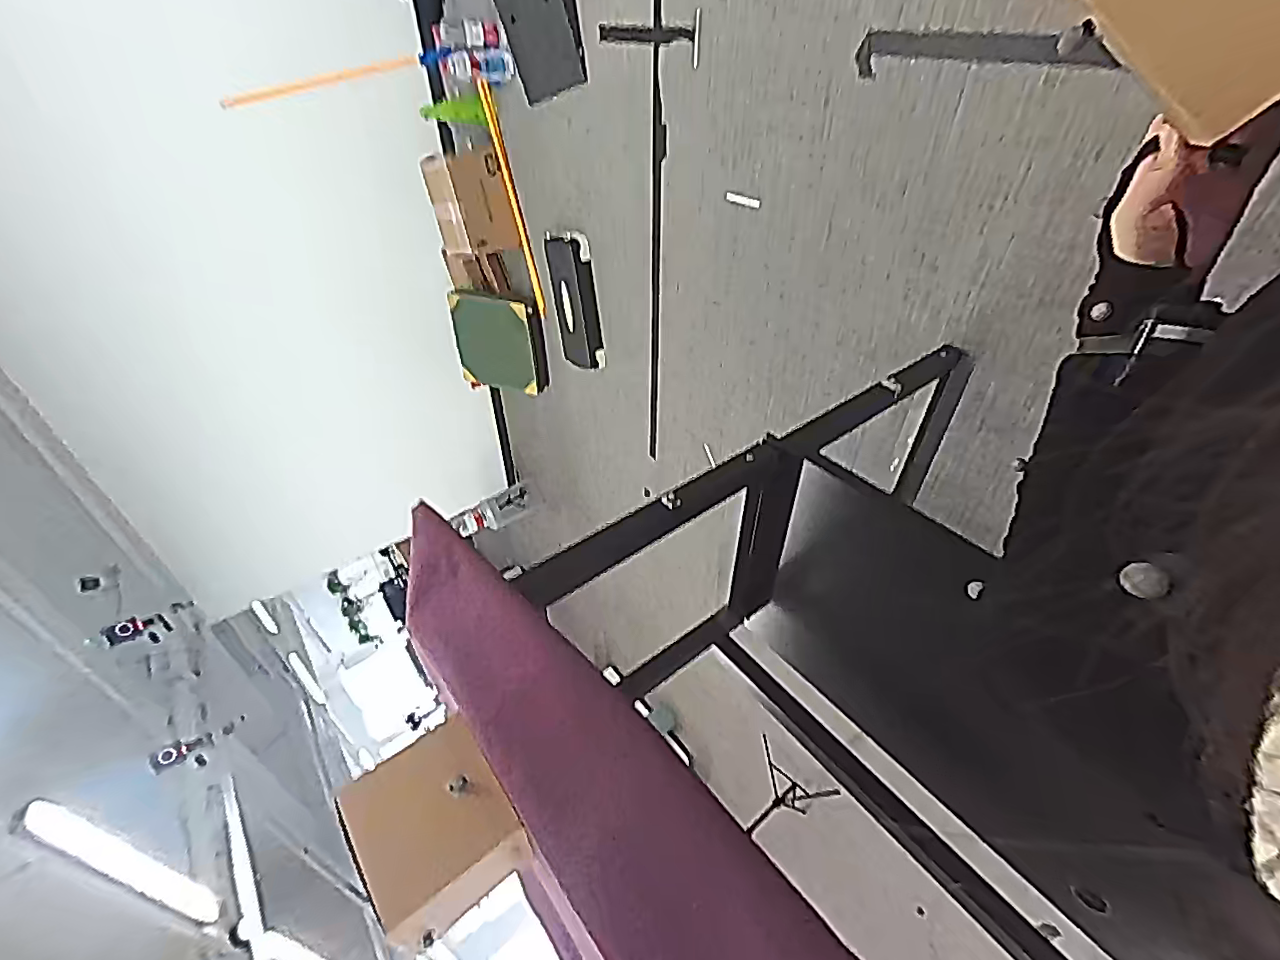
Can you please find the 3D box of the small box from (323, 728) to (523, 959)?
[{"bbox_3d":[-0.267,0.449,0.688,0.179,0.176,0.168,43,146,34],"label":"small box"}]
